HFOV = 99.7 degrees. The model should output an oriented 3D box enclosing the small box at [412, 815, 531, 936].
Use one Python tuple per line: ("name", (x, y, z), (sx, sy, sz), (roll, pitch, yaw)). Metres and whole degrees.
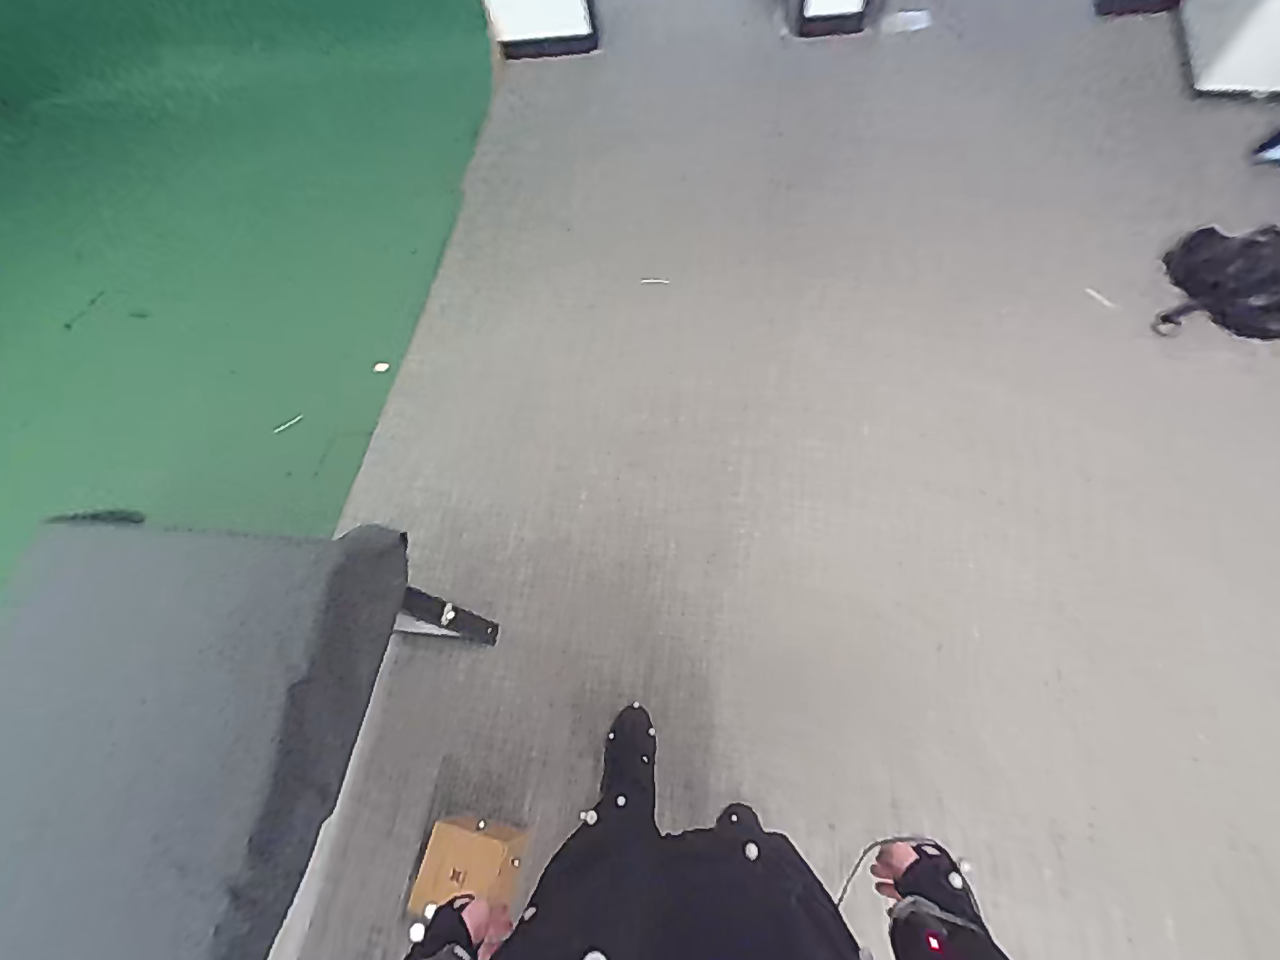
("small box", (-0.365, 0.870, 1.210), (0.179, 0.176, 0.168), (7, 66, 13))
